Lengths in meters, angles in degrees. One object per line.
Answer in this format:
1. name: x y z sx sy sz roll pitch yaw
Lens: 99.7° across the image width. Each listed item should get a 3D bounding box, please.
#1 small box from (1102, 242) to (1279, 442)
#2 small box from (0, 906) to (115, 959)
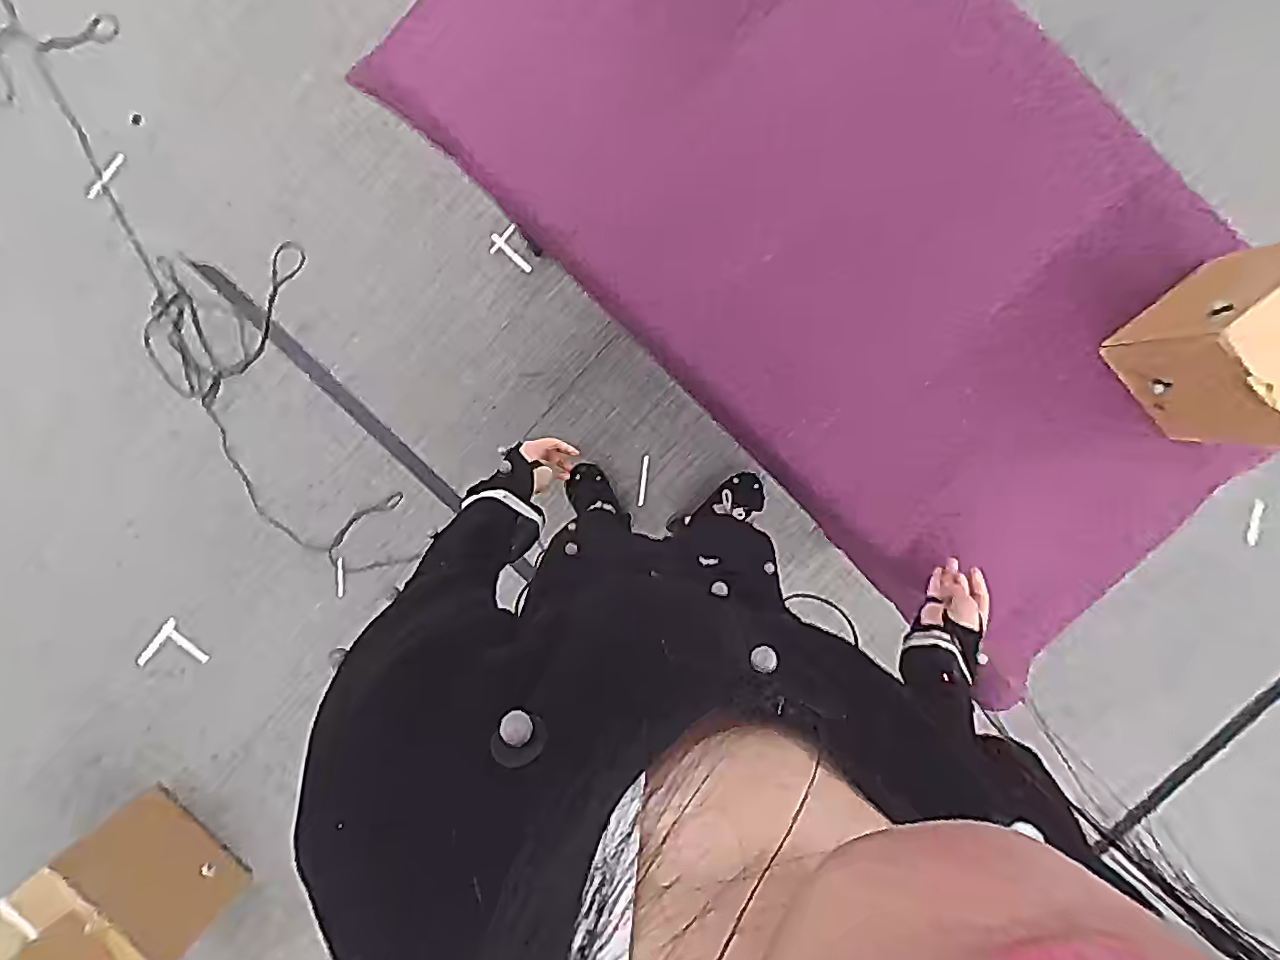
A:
1. small box: 0.732 -0.168 0.651 0.179 0.176 0.168 -41 94 9
2. small box: -1.404 1.159 1.257 0.168 0.176 0.179 -38 94 4
